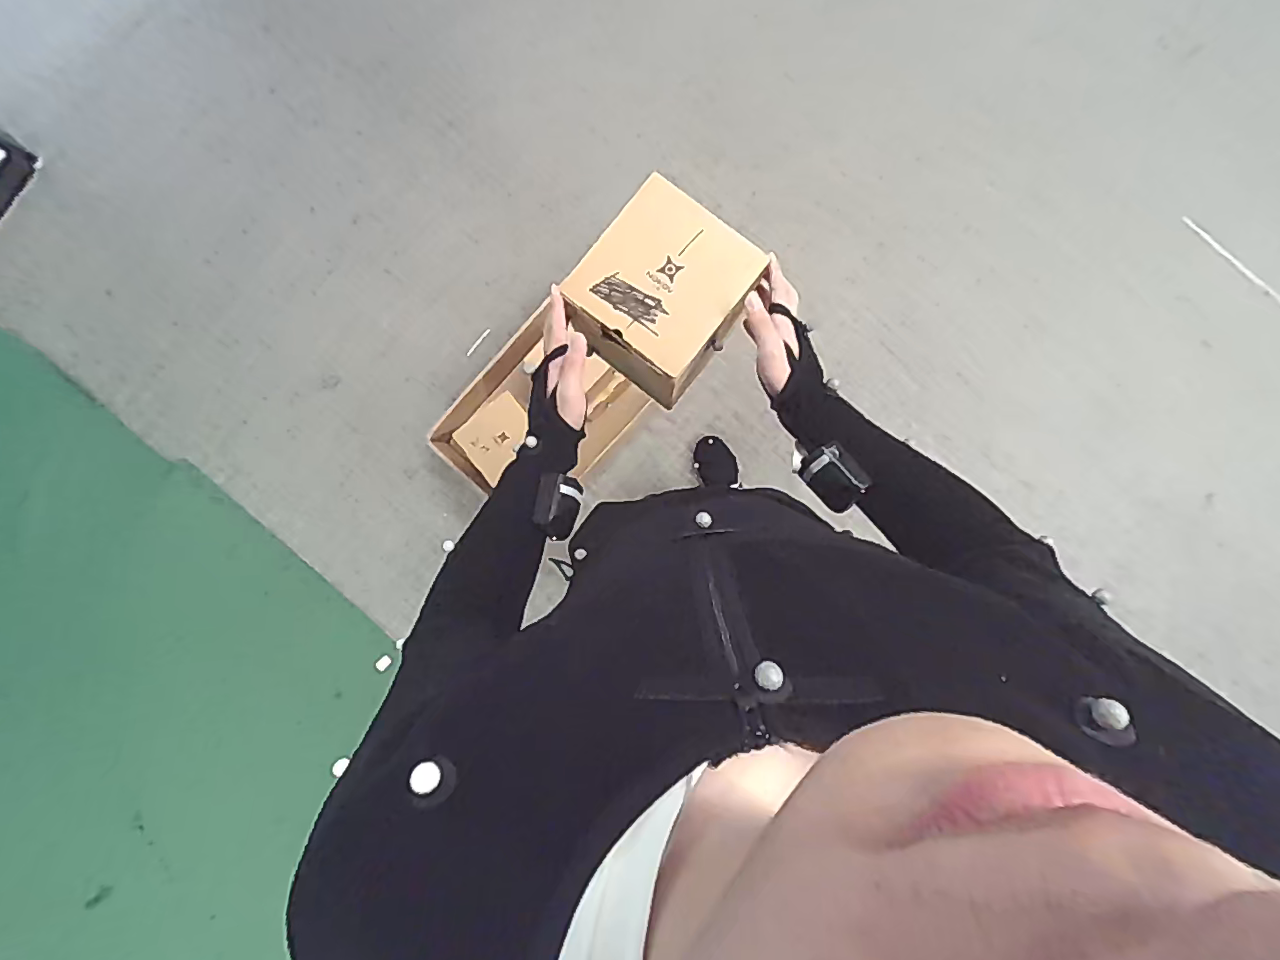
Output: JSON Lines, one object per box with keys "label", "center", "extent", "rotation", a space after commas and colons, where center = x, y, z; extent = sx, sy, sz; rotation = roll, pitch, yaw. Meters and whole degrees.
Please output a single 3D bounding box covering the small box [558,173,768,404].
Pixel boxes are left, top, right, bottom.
{"label": "small box", "center": [0.028, -0.218, 0.668], "extent": [0.168, 0.176, 0.179], "rotation": [39, 87, 3]}
